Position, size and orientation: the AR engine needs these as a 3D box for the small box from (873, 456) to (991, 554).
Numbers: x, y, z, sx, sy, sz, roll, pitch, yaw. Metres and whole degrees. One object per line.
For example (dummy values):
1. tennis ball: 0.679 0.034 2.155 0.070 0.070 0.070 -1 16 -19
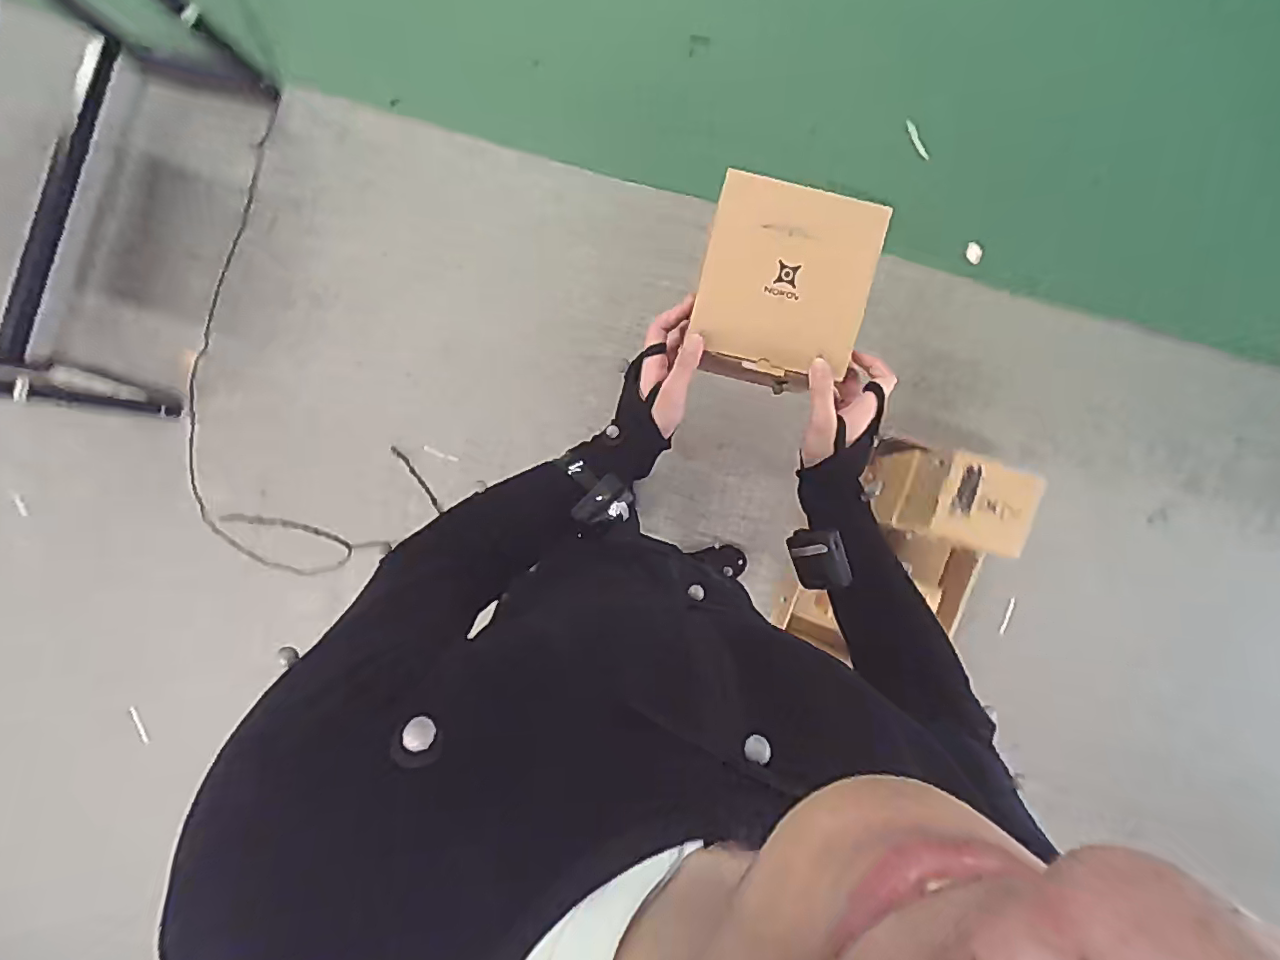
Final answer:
1. small box: 0.671 0.054 1.269 0.168 0.176 0.179 20 92 5

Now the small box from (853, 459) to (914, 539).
1. small box: 0.691 0.056 1.431 0.179 0.176 0.168 22 91 5

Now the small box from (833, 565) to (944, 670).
1. small box: 0.572 0.312 1.271 0.168 0.176 0.179 19 91 7

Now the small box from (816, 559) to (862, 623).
1. small box: 0.589 0.318 1.435 0.179 0.176 0.168 23 91 6
